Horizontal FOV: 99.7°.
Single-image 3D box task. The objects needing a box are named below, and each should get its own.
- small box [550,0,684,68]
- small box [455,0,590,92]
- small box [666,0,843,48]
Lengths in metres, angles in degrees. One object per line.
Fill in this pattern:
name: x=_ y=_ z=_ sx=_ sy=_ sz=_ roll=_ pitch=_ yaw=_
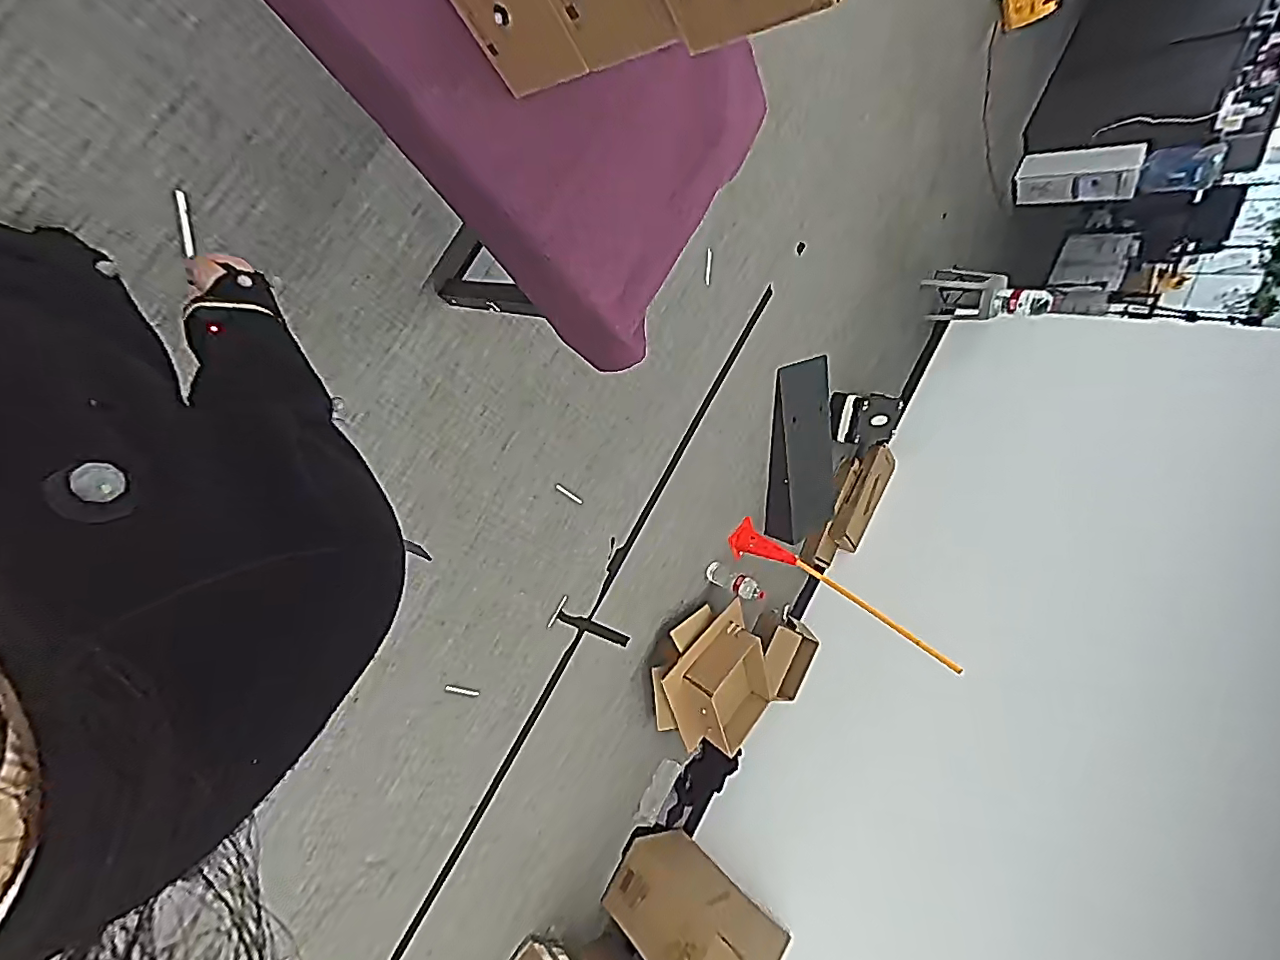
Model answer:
small box: x=0.000 y=-0.582 z=0.563 sx=0.179 sy=0.176 sz=0.168 roll=-58 pitch=138 yaw=-11
small box: x=-0.118 y=-0.626 z=0.668 sx=0.179 sy=0.176 sz=0.168 roll=-58 pitch=138 yaw=-12
small box: x=0.104 y=-0.517 z=0.454 sx=0.168 sy=0.176 sz=0.179 roll=39 pitch=76 yaw=-48
